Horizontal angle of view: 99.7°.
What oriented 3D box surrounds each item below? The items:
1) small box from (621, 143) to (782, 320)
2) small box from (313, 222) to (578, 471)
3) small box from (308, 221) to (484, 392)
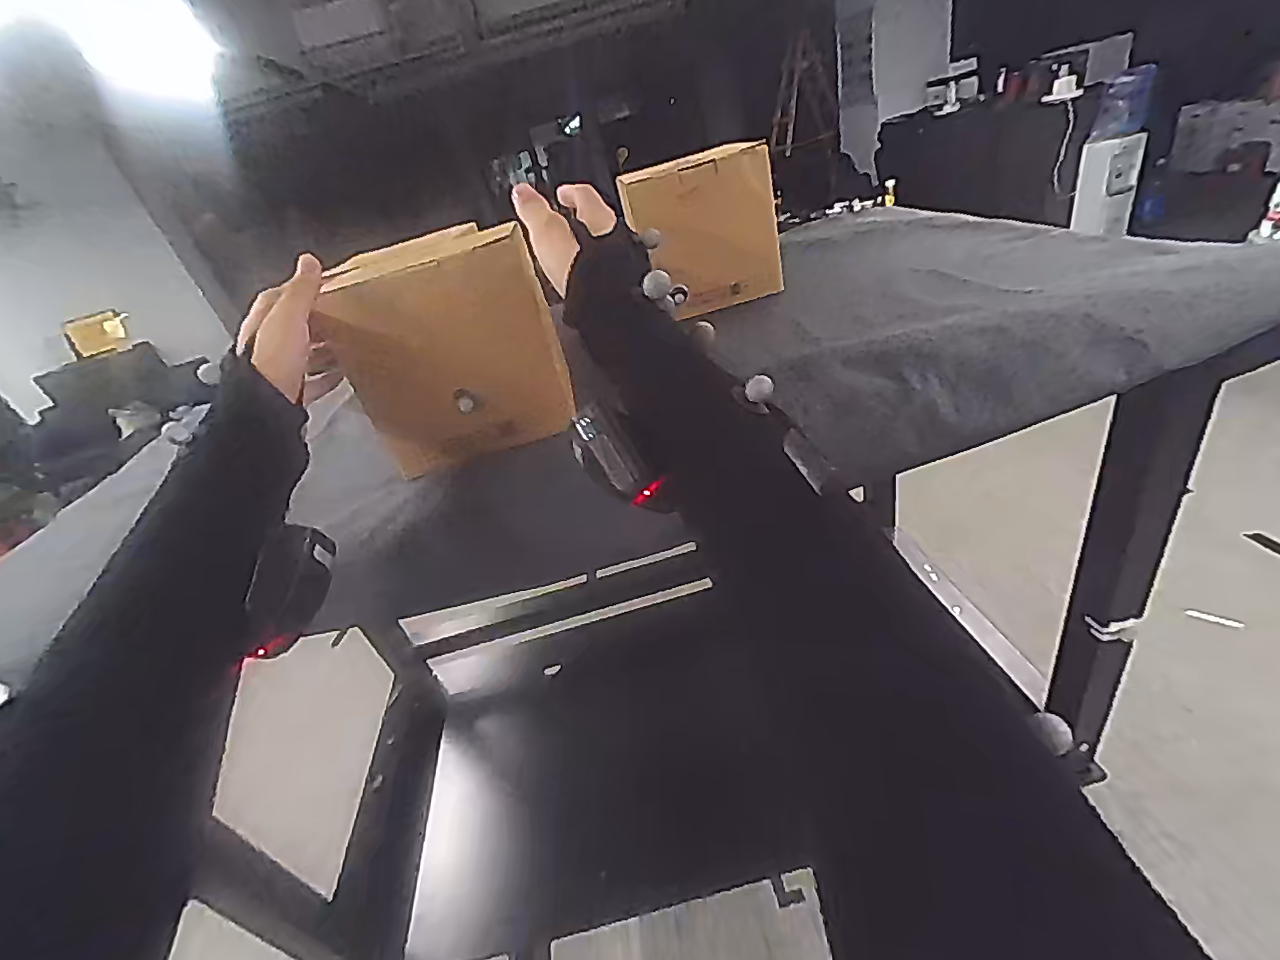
[{"bbox_3d":[0.079,-0.324,0.712,0.168,0.176,0.179,-14,31,3],"label":"small box"},{"bbox_3d":[-0.164,-0.133,0.520,0.168,0.176,0.179,-17,31,-1],"label":"small box"},{"bbox_3d":[-0.270,-0.214,0.699,0.179,0.176,0.168,-14,32,5],"label":"small box"}]
